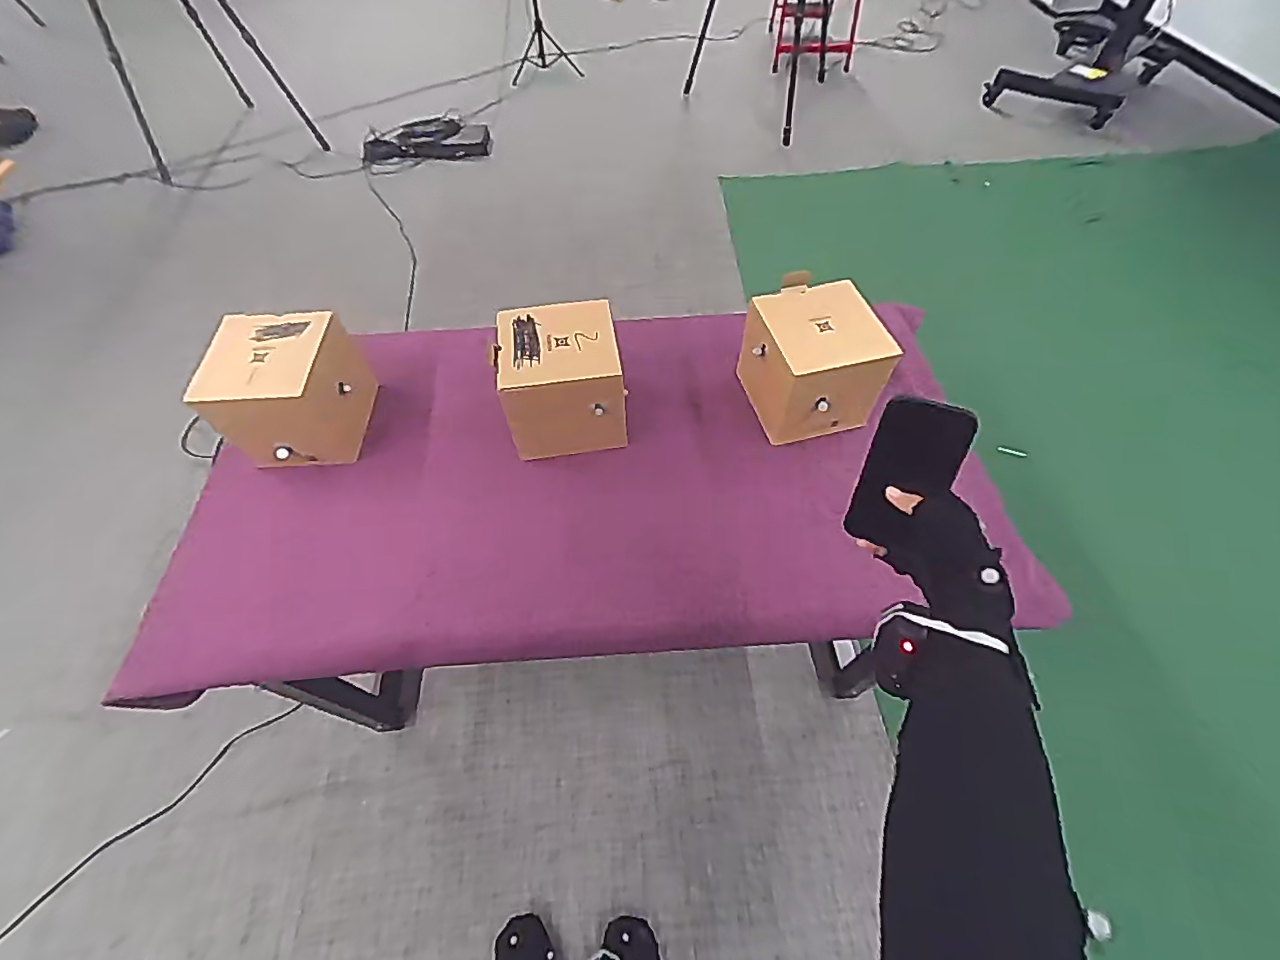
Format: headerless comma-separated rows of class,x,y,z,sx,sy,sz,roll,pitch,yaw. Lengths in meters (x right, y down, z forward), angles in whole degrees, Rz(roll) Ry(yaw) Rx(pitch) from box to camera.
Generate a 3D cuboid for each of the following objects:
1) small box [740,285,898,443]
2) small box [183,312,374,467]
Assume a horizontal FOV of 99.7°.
small box,0.270,-0.176,0.861,0.168,0.176,0.179,-12,56,-6
small box,-0.543,-0.139,0.846,0.168,0.176,0.179,-2,58,-1
